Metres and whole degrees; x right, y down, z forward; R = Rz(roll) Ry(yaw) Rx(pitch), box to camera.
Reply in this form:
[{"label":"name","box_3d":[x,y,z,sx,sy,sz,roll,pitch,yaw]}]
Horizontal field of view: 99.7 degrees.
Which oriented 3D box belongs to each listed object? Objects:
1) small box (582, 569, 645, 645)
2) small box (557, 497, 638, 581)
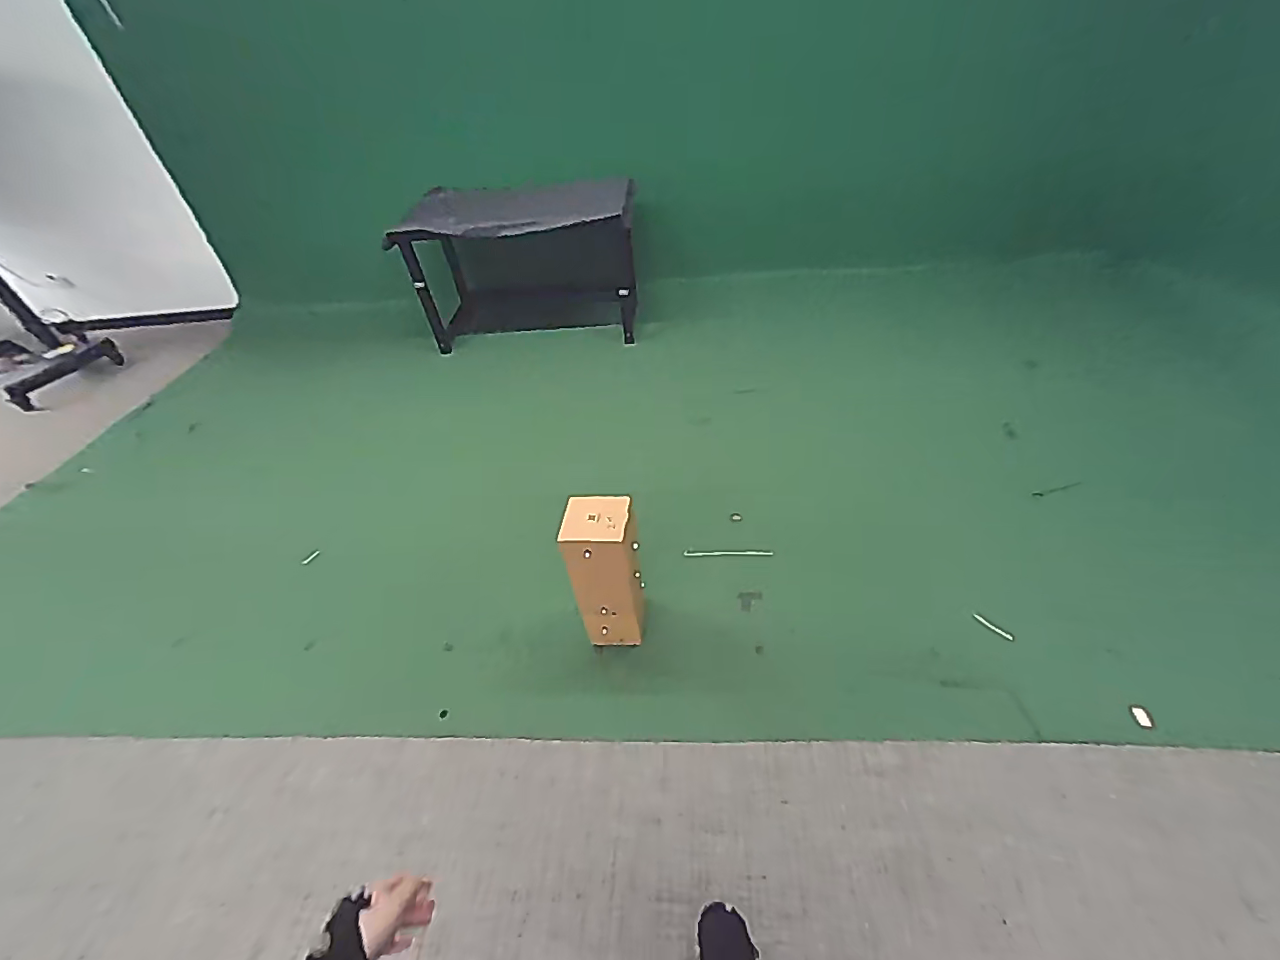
[{"label":"small box","box_3d":[-0.077,0.402,1.702,0.168,0.176,0.179,-2,41,7]},{"label":"small box","box_3d":[-0.109,0.162,1.478,0.179,0.176,0.168,0,43,9]}]
